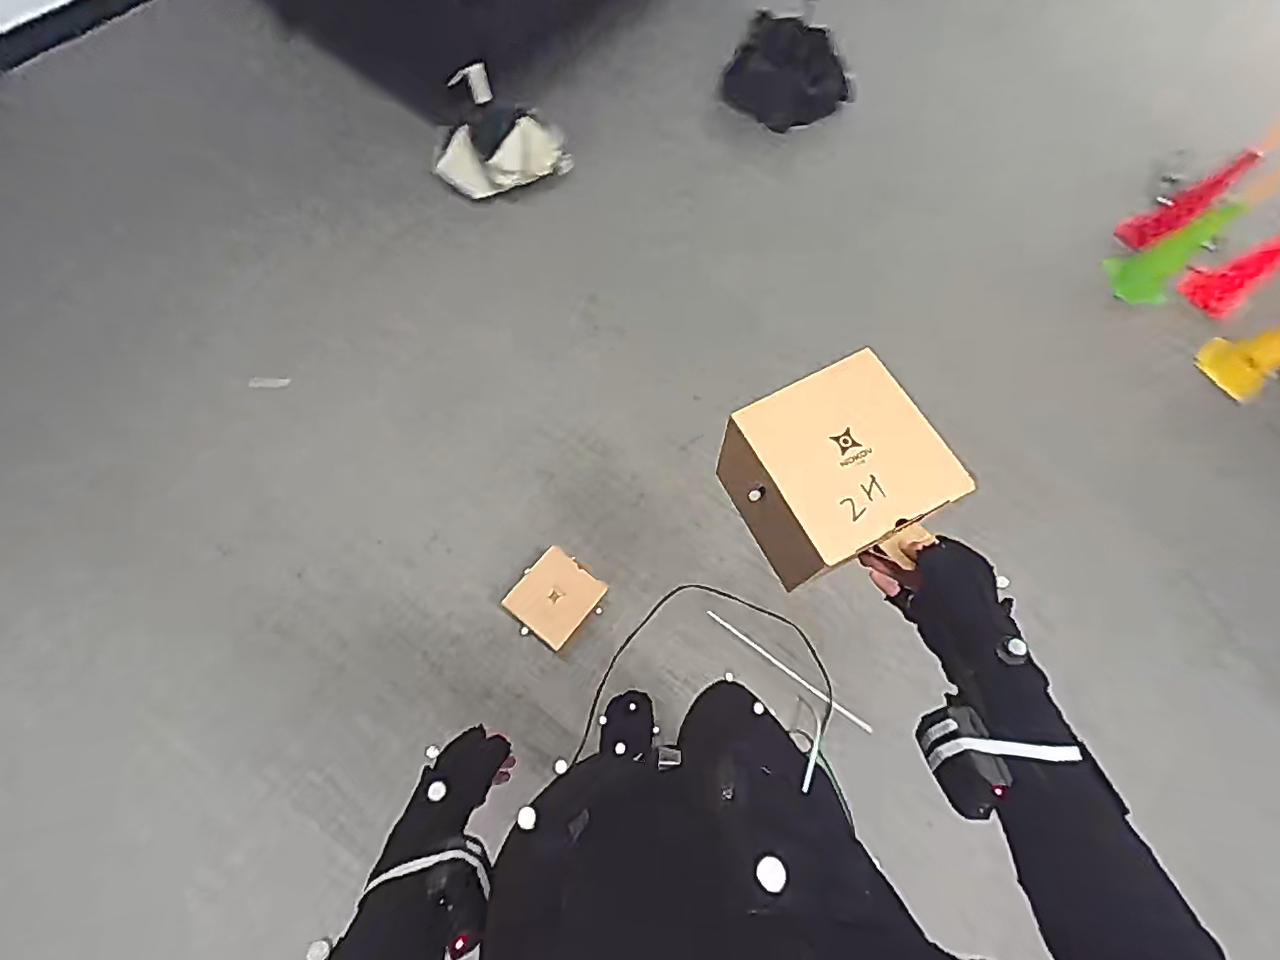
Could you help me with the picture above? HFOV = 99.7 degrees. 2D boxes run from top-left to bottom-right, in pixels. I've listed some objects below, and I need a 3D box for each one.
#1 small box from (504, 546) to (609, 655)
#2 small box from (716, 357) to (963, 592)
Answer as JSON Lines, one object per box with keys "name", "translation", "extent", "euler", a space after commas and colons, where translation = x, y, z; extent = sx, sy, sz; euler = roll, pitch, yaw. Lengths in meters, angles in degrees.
{"name": "small box", "translation": [-0.193, 0.288, 1.271], "extent": [0.168, 0.176, 0.179], "euler": [39, 70, 9]}
{"name": "small box", "translation": [0.197, 0.004, 0.599], "extent": [0.168, 0.176, 0.179], "euler": [-27, 71, -6]}
